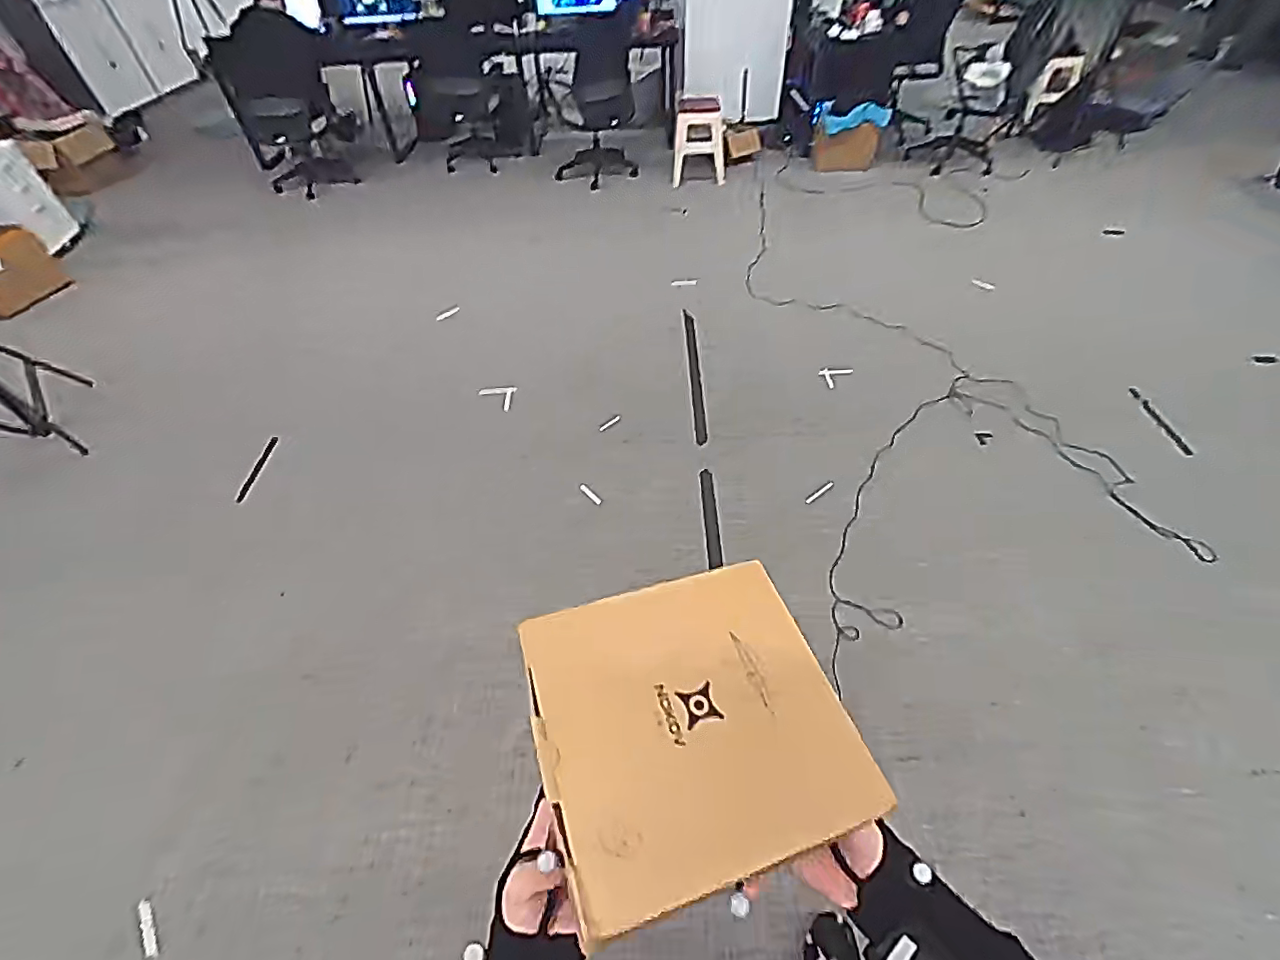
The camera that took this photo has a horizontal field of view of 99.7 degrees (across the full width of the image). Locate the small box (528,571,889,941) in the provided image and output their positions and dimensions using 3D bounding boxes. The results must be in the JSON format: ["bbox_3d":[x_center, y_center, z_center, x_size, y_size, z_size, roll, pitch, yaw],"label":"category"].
[{"bbox_3d":[0.027,0.194,0.383,0.179,0.176,0.168,-11,51,-17],"label":"small box"}]
